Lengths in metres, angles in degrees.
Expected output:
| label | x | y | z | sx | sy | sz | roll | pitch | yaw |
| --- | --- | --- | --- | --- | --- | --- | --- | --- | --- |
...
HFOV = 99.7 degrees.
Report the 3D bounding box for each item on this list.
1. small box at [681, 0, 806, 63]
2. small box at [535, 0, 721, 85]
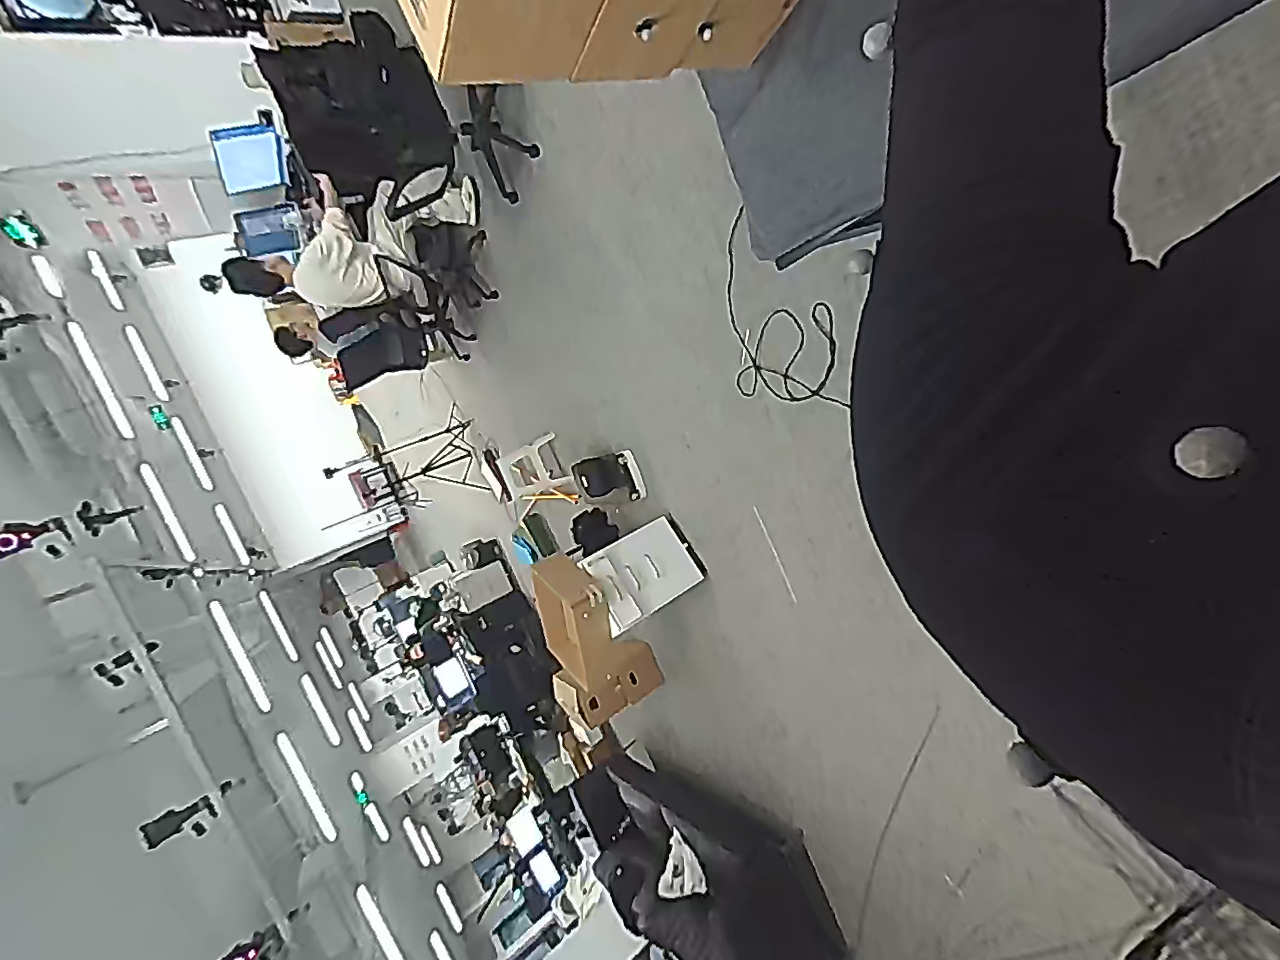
| label | x | y | z | sx | sy | sz | roll | pitch | yaw |
| --- | --- | --- | --- | --- | --- | --- | --- | --- | --- |
| small box | 0.108 | -0.686 | 0.708 | 0.168 | 0.176 | 0.179 | -21 | 95 | 60 |
| small box | -0.013 | -0.607 | 0.627 | 0.179 | 0.176 | 0.168 | -20 | 97 | 61 |
